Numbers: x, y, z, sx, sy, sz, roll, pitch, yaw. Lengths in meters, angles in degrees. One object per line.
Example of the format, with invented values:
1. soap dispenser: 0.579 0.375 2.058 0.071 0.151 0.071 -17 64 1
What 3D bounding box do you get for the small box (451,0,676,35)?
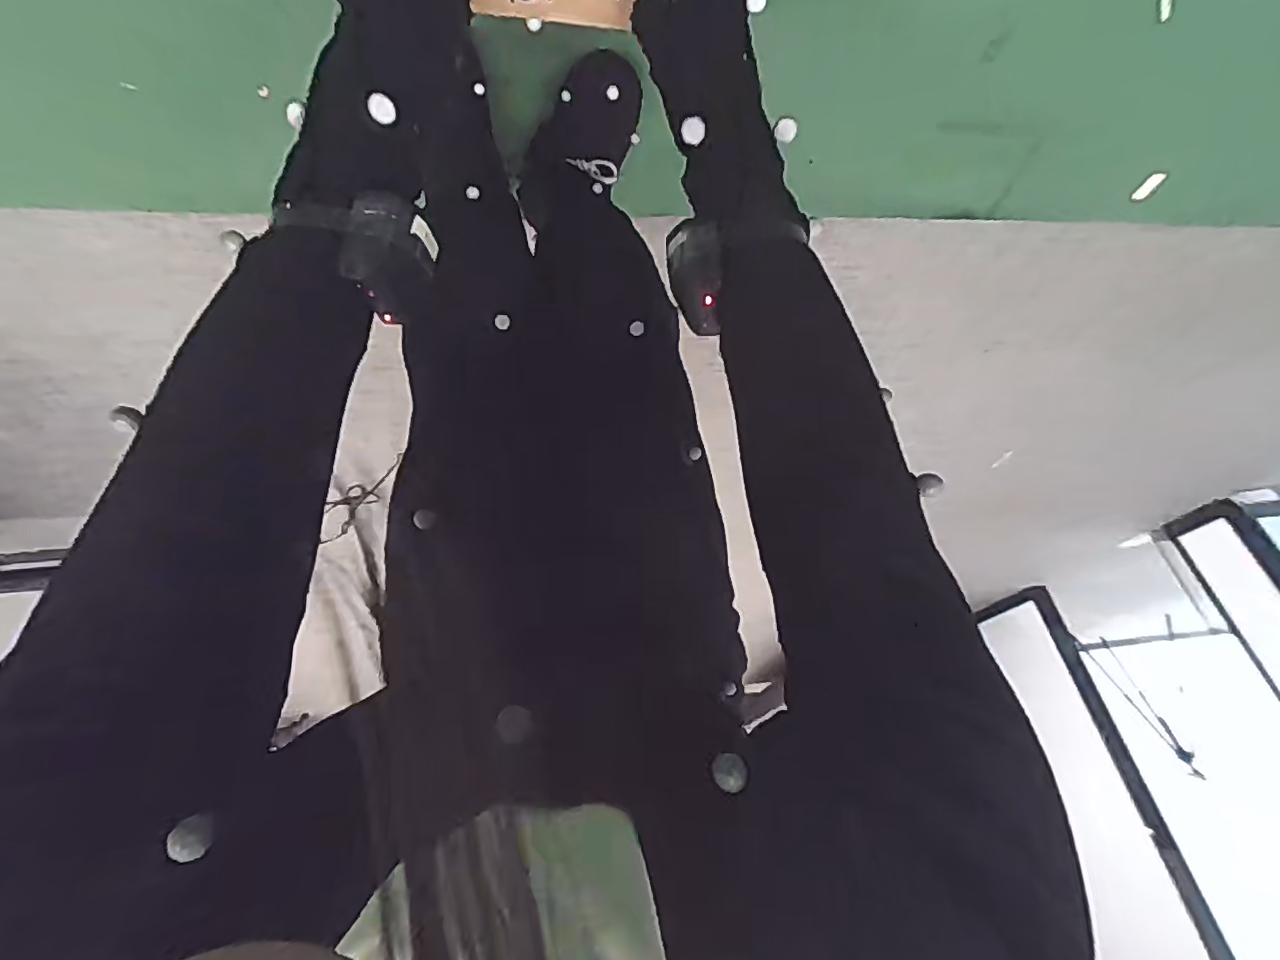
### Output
1. small box: -0.053 -0.450 0.364 0.168 0.176 0.179 -1 149 -10
